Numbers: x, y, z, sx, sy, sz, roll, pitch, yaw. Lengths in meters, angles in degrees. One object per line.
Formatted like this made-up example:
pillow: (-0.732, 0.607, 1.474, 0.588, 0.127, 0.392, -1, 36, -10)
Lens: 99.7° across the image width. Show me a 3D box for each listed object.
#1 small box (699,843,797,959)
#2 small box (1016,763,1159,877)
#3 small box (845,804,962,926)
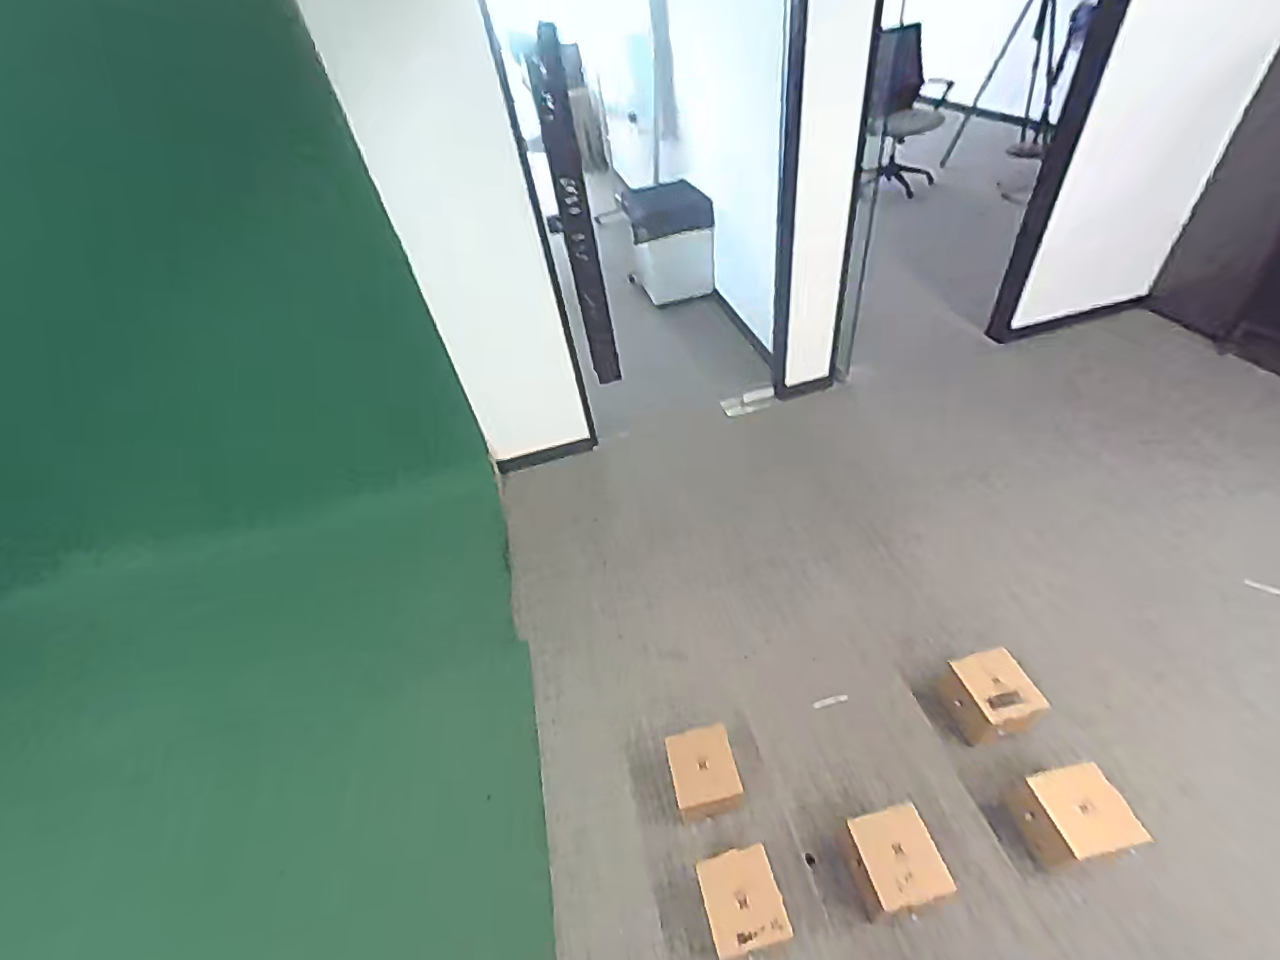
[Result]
small box: (0.237, 0.960, 1.215, 0.168, 0.176, 0.179, -15, 42, -3)
small box: (1.010, 0.785, 1.246, 0.179, 0.176, 0.168, -12, 43, -3)
small box: (0.586, 0.877, 1.232, 0.168, 0.176, 0.179, -14, 43, -2)
